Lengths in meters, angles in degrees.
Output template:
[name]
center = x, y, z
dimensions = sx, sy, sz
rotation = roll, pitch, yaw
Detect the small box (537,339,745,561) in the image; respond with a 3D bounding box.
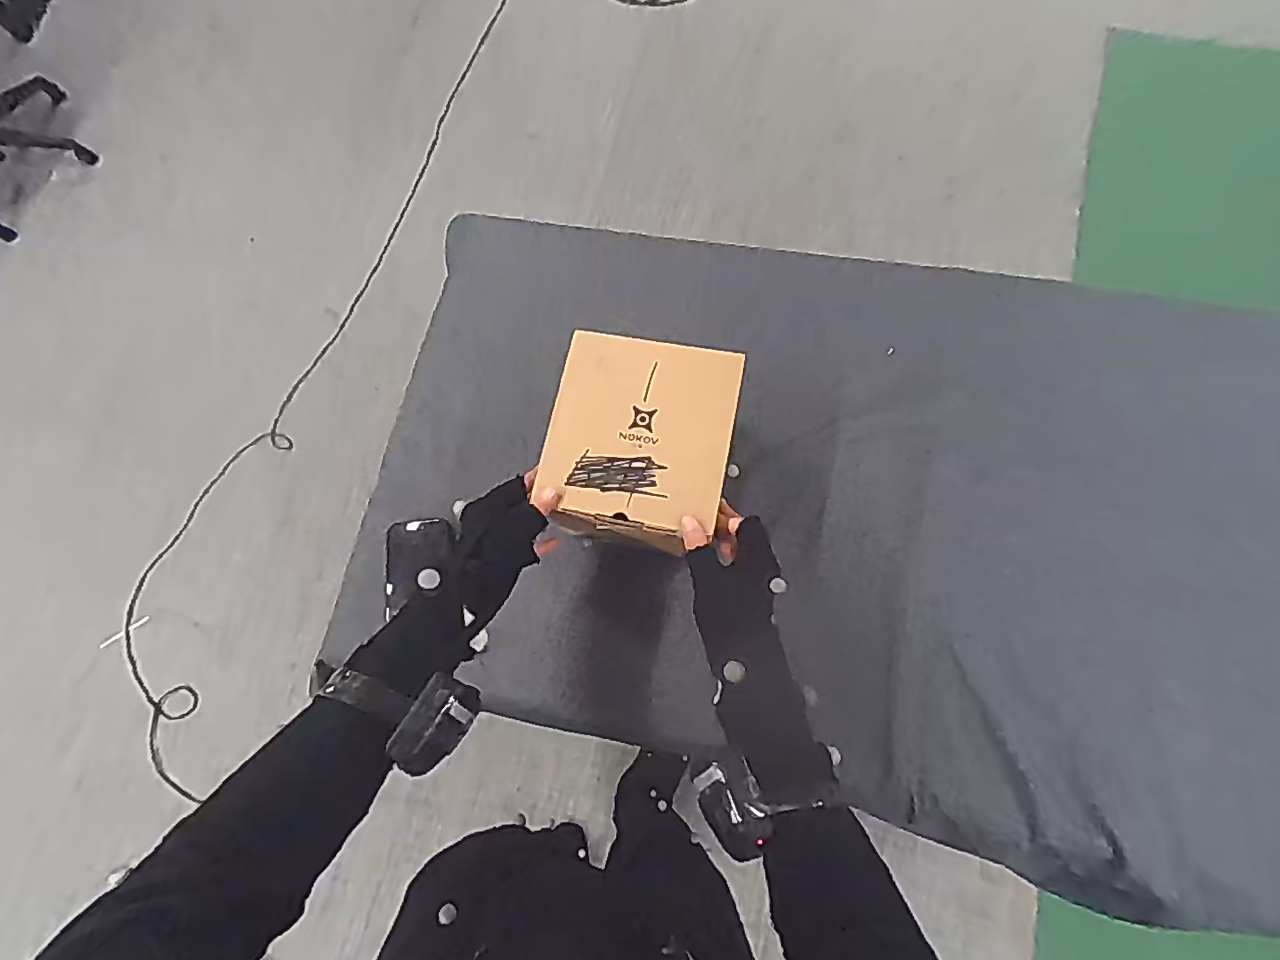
[small box]
center = 0.010, -0.020, 0.571
dimensions = 0.168, 0.176, 0.179
rotation = 10, 75, 8
